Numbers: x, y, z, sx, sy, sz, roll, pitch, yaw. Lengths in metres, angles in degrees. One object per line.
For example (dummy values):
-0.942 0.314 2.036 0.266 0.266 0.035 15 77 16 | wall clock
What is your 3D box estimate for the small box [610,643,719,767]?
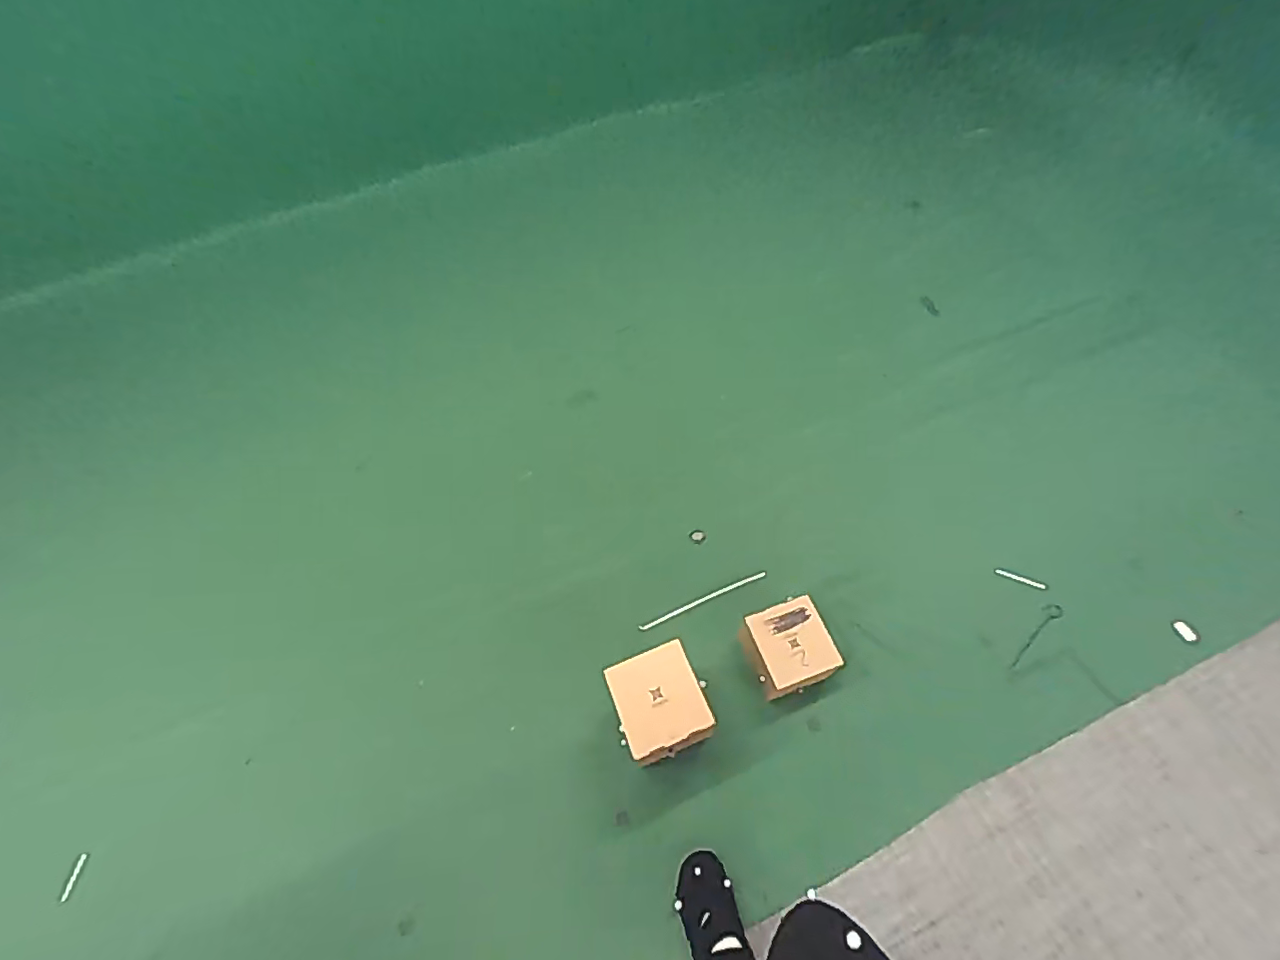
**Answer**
0.049 0.467 1.112 0.168 0.176 0.179 -22 60 -7 | small box
